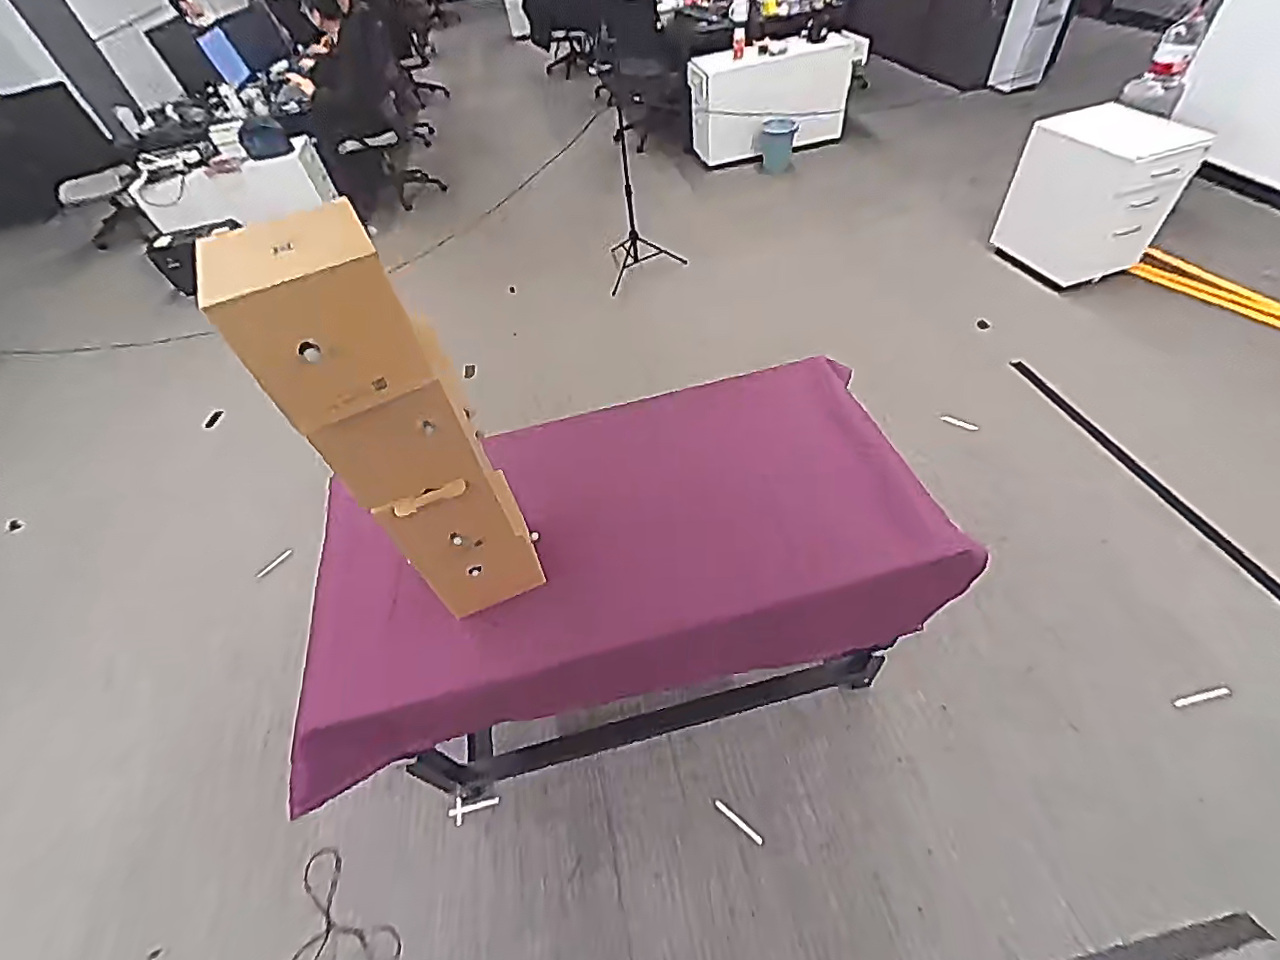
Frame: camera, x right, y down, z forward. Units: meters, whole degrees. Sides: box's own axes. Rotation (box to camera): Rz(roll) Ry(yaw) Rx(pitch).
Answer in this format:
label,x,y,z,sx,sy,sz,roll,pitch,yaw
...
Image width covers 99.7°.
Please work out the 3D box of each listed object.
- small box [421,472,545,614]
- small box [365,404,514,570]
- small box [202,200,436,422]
label,x,y,z,sx,sy,sz,roll,pitch,yaw
small box,-0.295,0.120,1.002,0.179,0.176,0.168,-21,50,-11
small box,-0.322,0.013,0.880,0.168,0.176,0.179,-22,51,-10
small box,-0.360,-0.188,0.624,0.168,0.176,0.179,-27,51,-16
